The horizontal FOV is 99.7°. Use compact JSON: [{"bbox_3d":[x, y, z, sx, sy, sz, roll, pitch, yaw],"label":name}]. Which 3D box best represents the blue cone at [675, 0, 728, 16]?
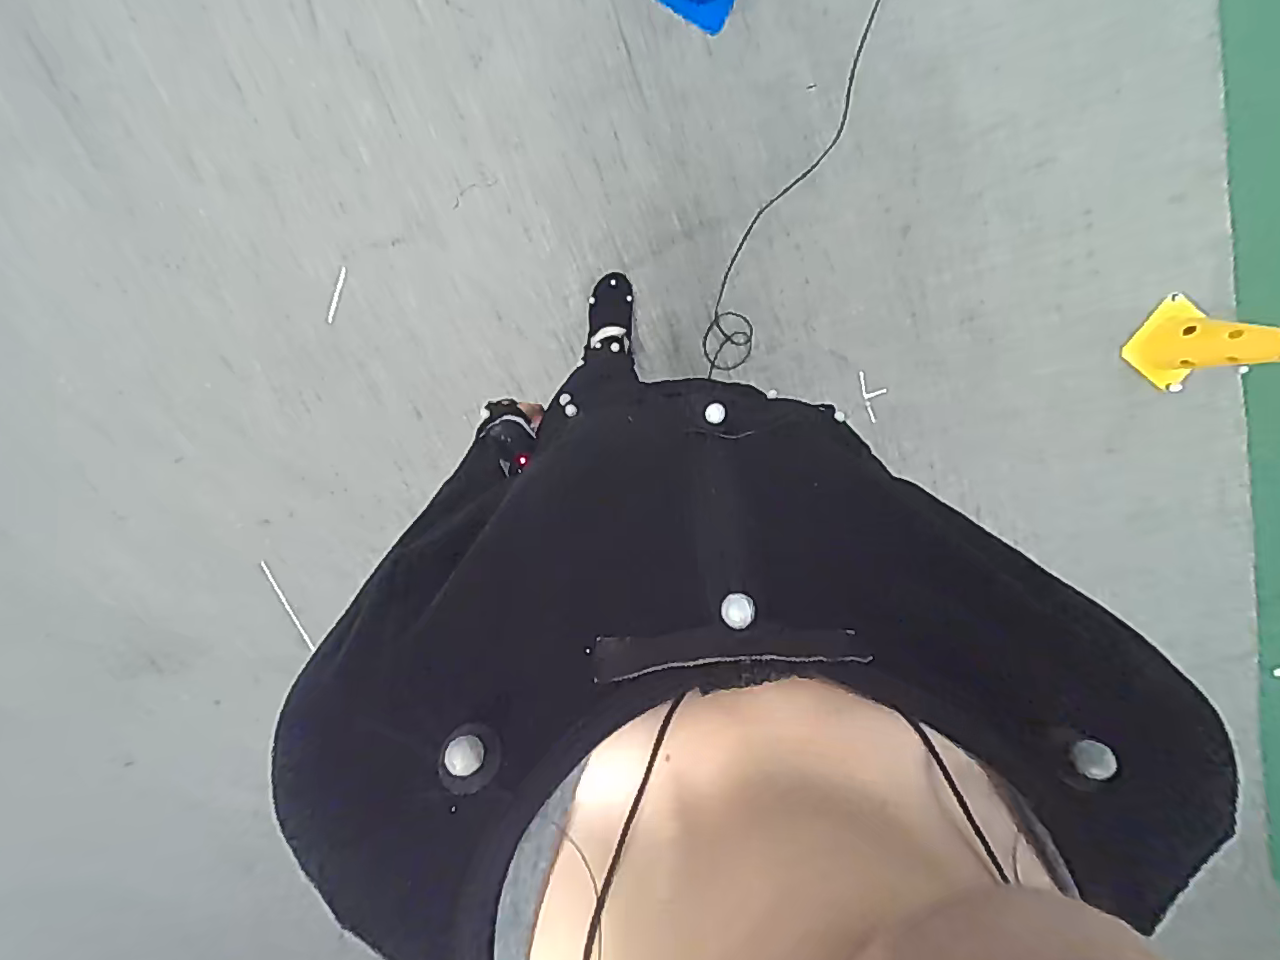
[{"bbox_3d":[0.128,-1.092,1.014,0.193,0.380,0.192,25,104,-6],"label":"blue cone"}]
